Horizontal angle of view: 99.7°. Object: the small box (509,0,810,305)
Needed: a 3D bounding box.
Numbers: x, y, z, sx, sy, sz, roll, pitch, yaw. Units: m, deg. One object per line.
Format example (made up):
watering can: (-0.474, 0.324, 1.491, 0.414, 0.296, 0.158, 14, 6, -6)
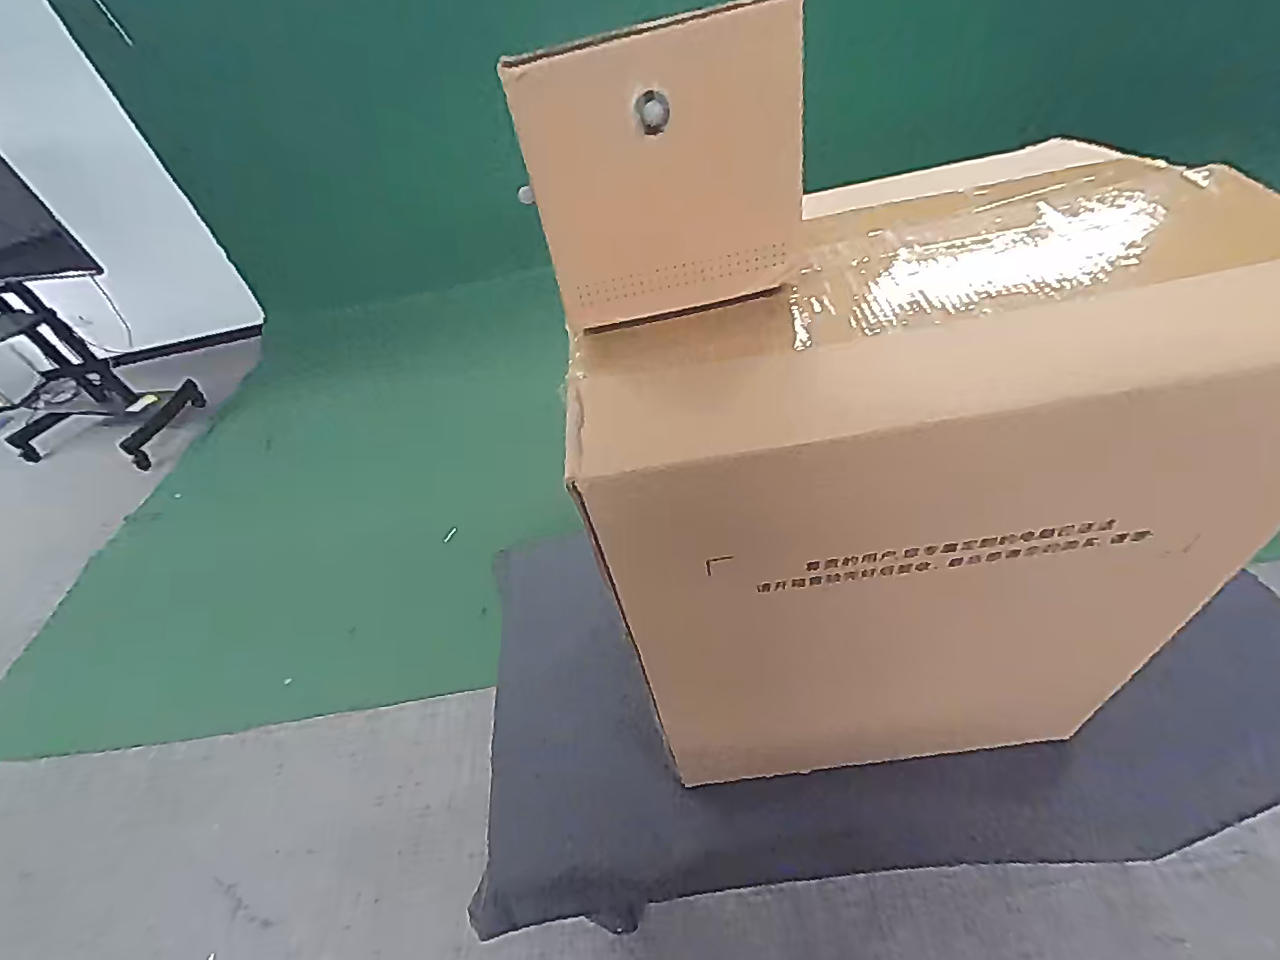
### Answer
small box: (0.018, -0.245, 0.406, 0.179, 0.176, 0.168, -10, 38, 1)
